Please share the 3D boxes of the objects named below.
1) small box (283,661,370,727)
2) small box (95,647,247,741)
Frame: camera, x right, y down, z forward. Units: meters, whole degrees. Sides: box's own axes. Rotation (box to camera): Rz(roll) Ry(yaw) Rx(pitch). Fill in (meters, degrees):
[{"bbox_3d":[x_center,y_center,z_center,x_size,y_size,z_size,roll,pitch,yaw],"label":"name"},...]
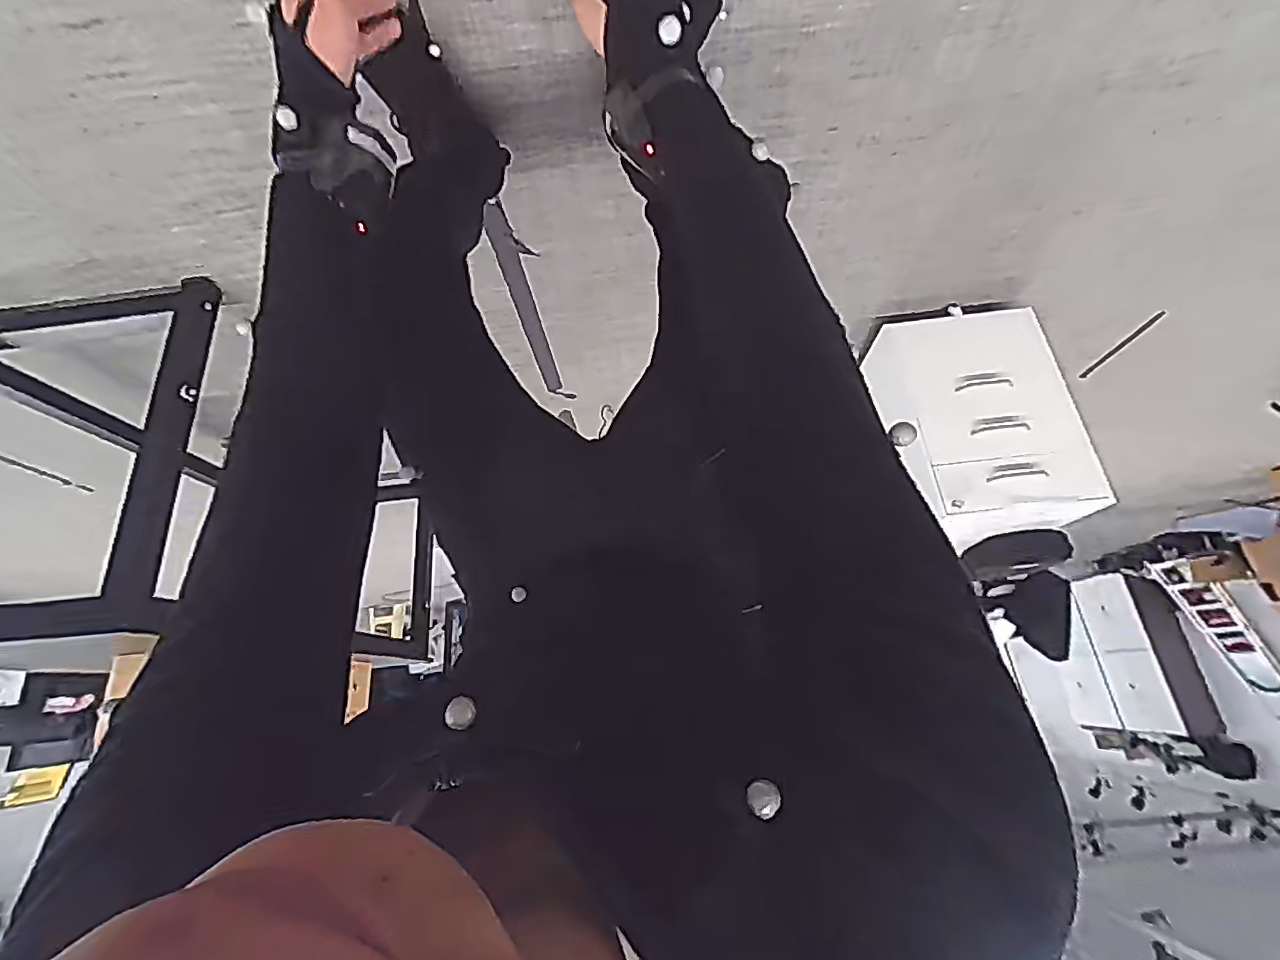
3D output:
[{"bbox_3d":[-0.962,0.659,1.676,0.179,0.176,0.168,-7,158,3],"label":"small box"},{"bbox_3d":[-1.004,0.464,1.178,0.179,0.176,0.168,-6,159,2],"label":"small box"}]
